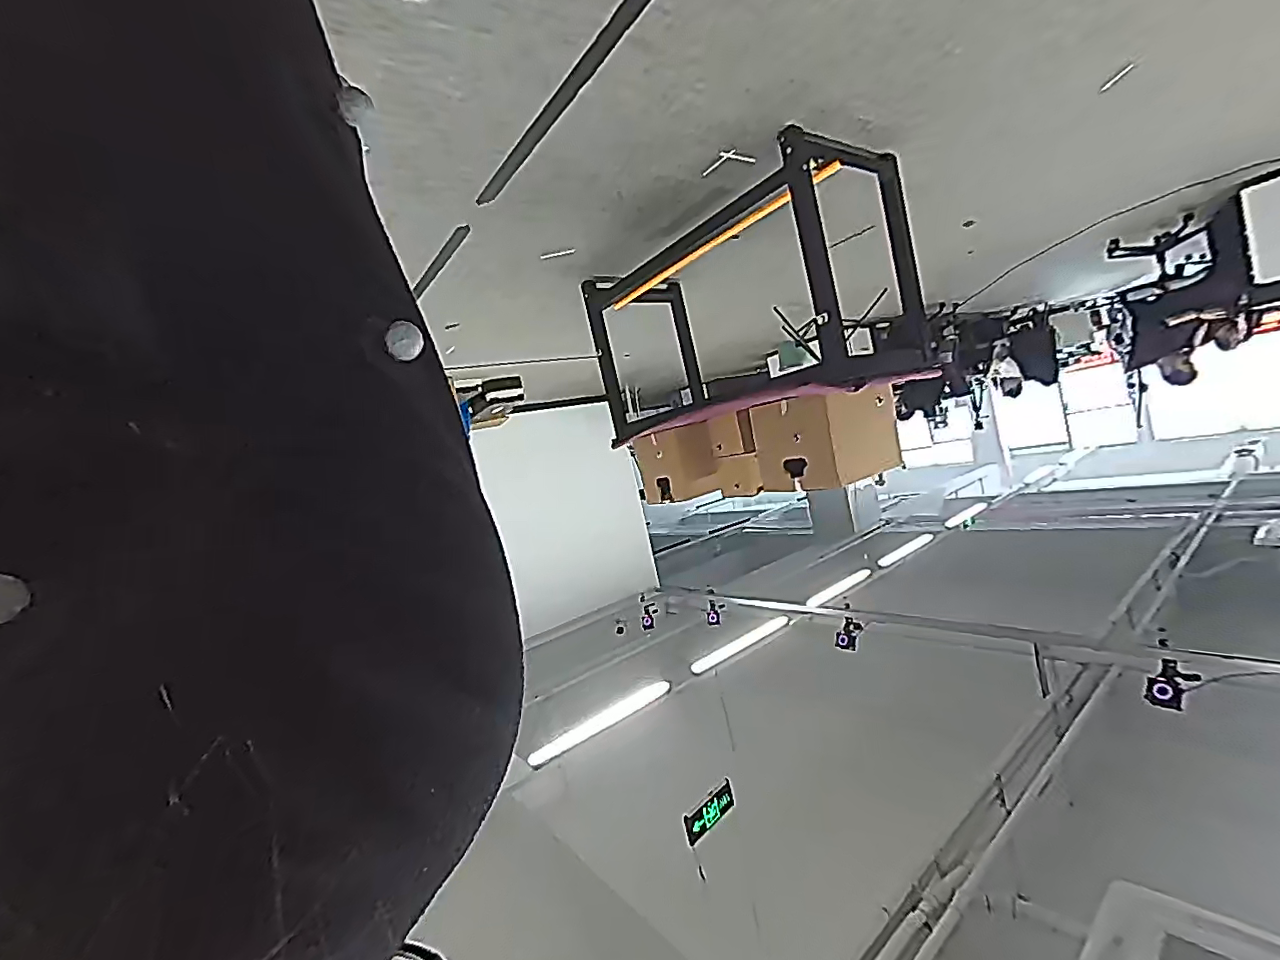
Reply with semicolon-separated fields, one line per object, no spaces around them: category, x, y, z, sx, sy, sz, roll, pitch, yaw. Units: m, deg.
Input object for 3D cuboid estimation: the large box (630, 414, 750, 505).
large box;0.223;-0.093;2.449;0.408;0.320;0.320;-16;-175;-37
